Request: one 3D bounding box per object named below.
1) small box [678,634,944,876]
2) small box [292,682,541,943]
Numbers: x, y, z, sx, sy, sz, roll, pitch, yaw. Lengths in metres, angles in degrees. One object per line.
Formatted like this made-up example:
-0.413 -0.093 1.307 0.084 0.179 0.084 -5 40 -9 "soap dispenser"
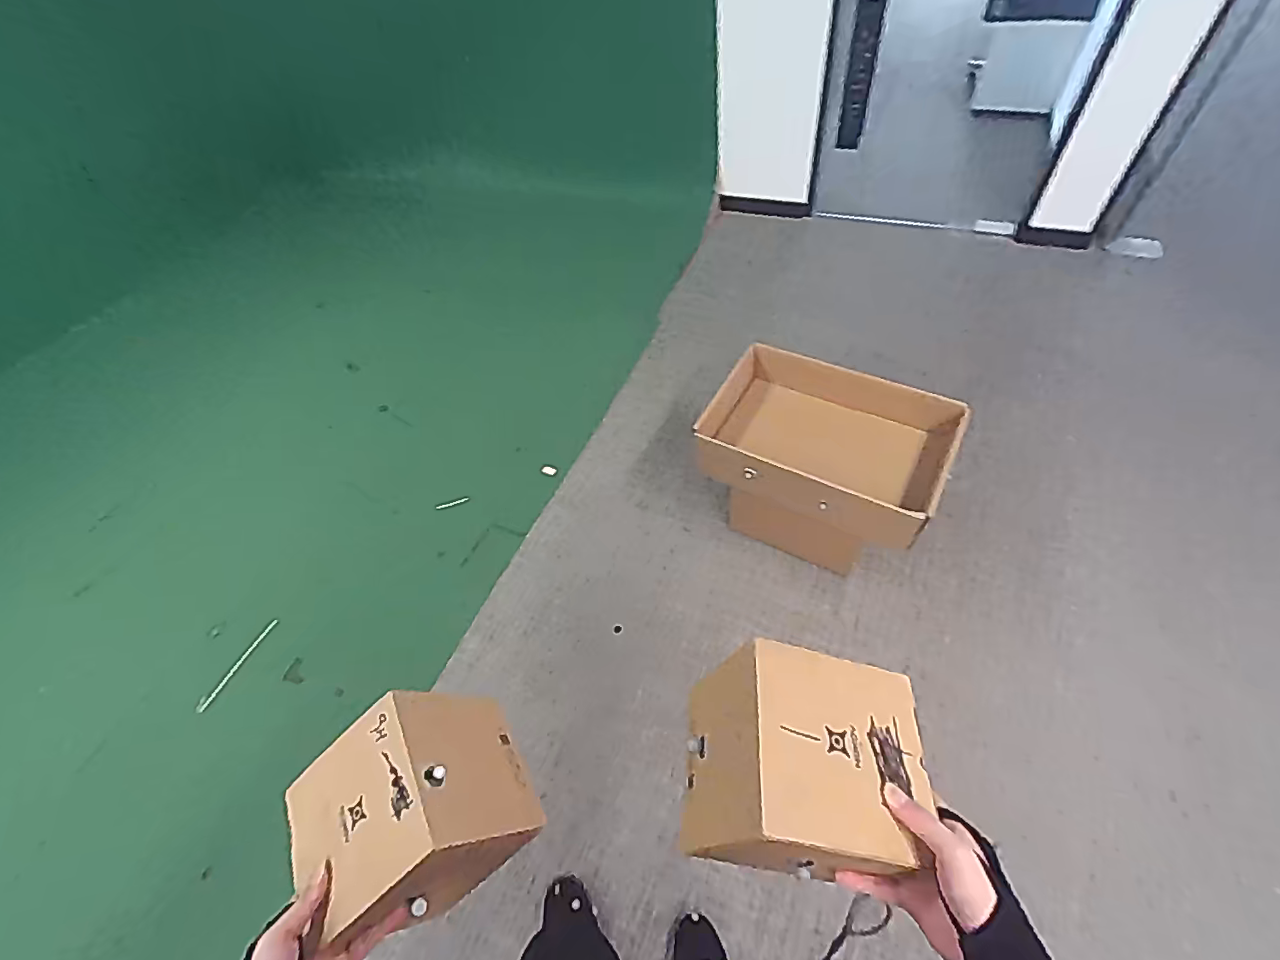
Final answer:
0.154 0.280 0.539 0.179 0.176 0.168 17 48 -8 "small box"
-0.244 0.353 0.598 0.179 0.176 0.168 -43 53 7 "small box"
